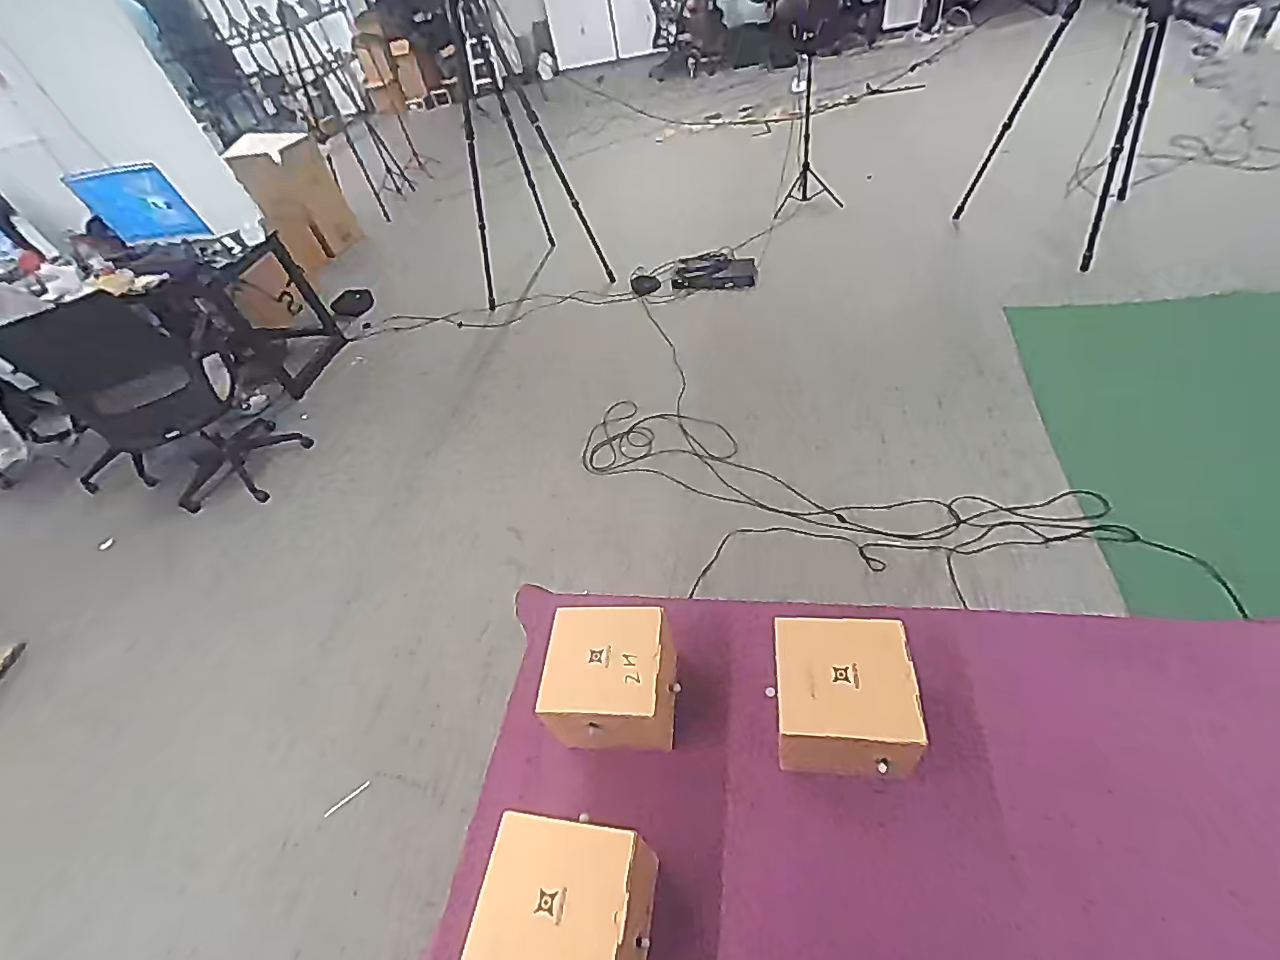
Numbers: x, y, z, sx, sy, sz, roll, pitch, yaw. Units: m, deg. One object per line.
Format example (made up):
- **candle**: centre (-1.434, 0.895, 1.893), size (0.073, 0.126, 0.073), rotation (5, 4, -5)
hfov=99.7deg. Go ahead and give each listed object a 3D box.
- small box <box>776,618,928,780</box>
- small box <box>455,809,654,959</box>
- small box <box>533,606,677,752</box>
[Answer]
- **small box**: centre (0.286, 0.314, 0.773), size (0.179, 0.176, 0.168), rotation (-1, 47, 14)
- **small box**: centre (-0.090, 0.530, 0.663), size (0.179, 0.176, 0.168), rotation (1, 47, 14)
- **small box**: centre (-0.043, 0.314, 0.851), size (0.179, 0.176, 0.168), rotation (-2, 48, 12)
